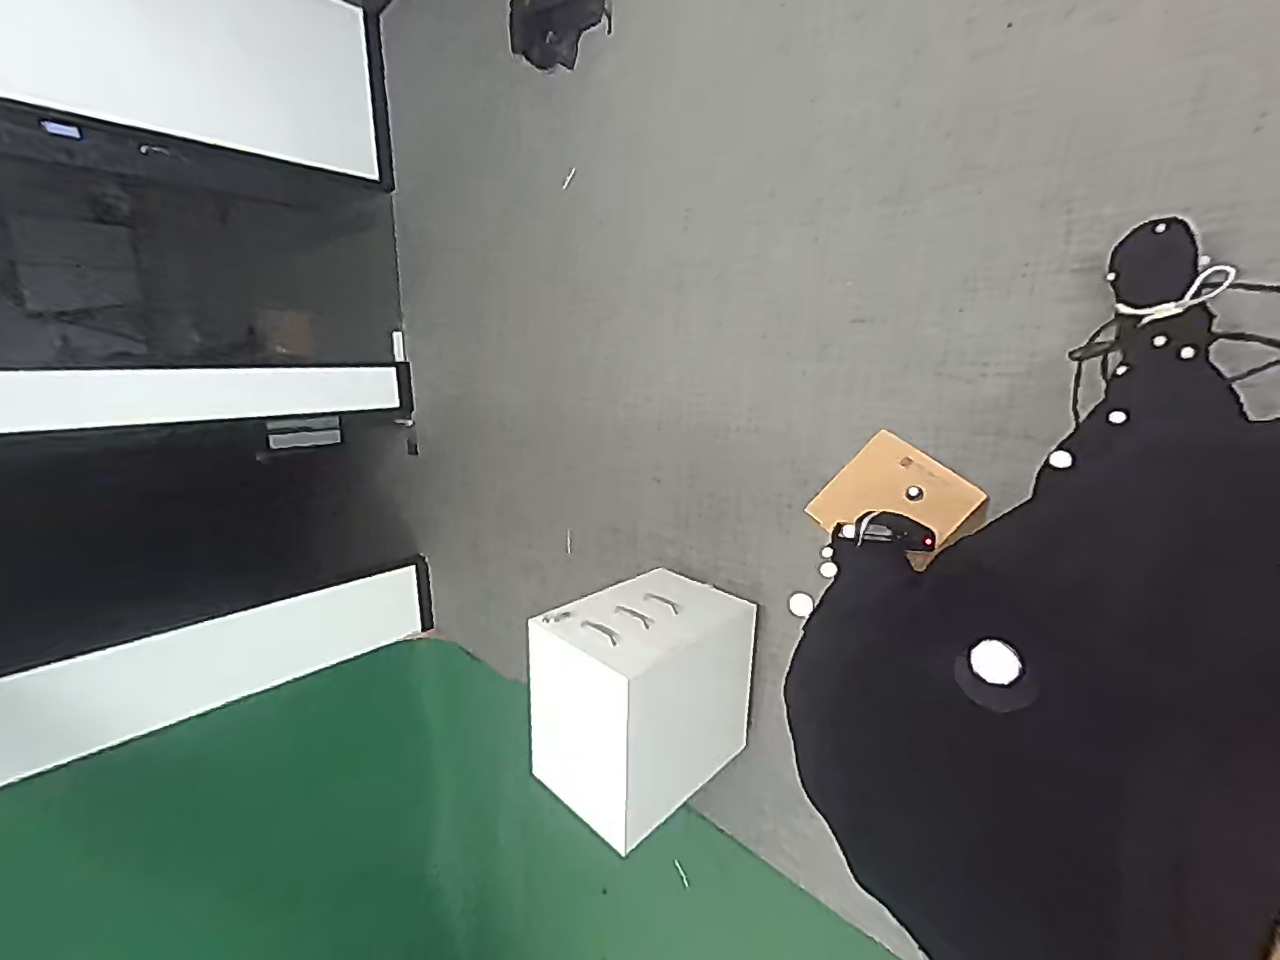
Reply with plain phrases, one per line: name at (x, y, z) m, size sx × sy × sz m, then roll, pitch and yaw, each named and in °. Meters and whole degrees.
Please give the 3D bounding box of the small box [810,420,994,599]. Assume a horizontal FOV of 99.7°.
small box at (0.384, 0.045, 0.796) m, size 0.176 × 0.179 × 0.168 m, roll -46°, pitch 55°, yaw 2°
